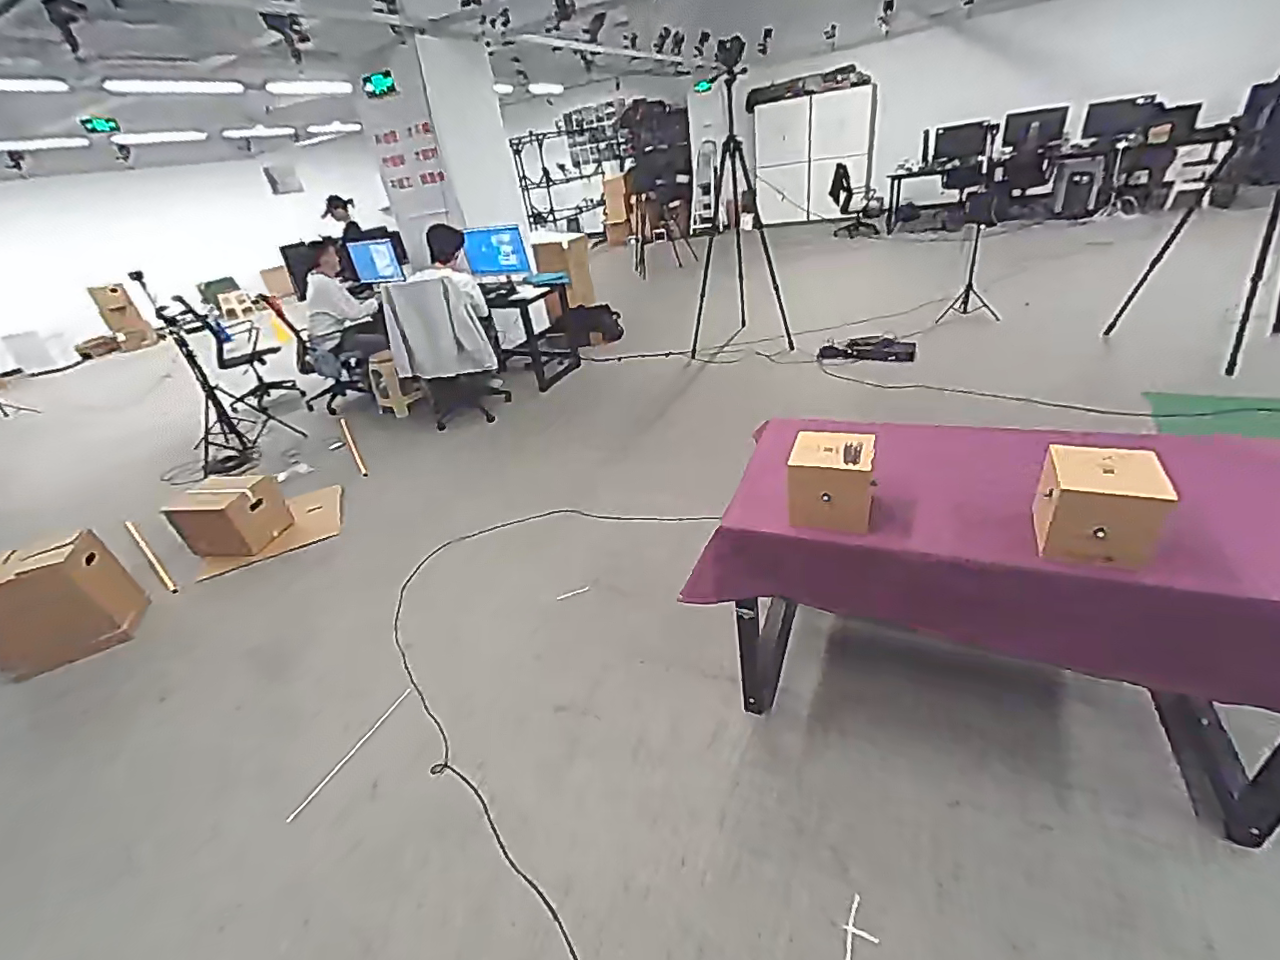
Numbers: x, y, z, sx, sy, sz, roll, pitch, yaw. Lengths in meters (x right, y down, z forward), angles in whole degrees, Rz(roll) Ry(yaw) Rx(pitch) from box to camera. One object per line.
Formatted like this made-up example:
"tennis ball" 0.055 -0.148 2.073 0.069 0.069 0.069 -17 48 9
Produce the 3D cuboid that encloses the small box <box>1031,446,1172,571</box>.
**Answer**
"small box" 0.891 0.054 1.063 0.168 0.176 0.179 8 35 26
